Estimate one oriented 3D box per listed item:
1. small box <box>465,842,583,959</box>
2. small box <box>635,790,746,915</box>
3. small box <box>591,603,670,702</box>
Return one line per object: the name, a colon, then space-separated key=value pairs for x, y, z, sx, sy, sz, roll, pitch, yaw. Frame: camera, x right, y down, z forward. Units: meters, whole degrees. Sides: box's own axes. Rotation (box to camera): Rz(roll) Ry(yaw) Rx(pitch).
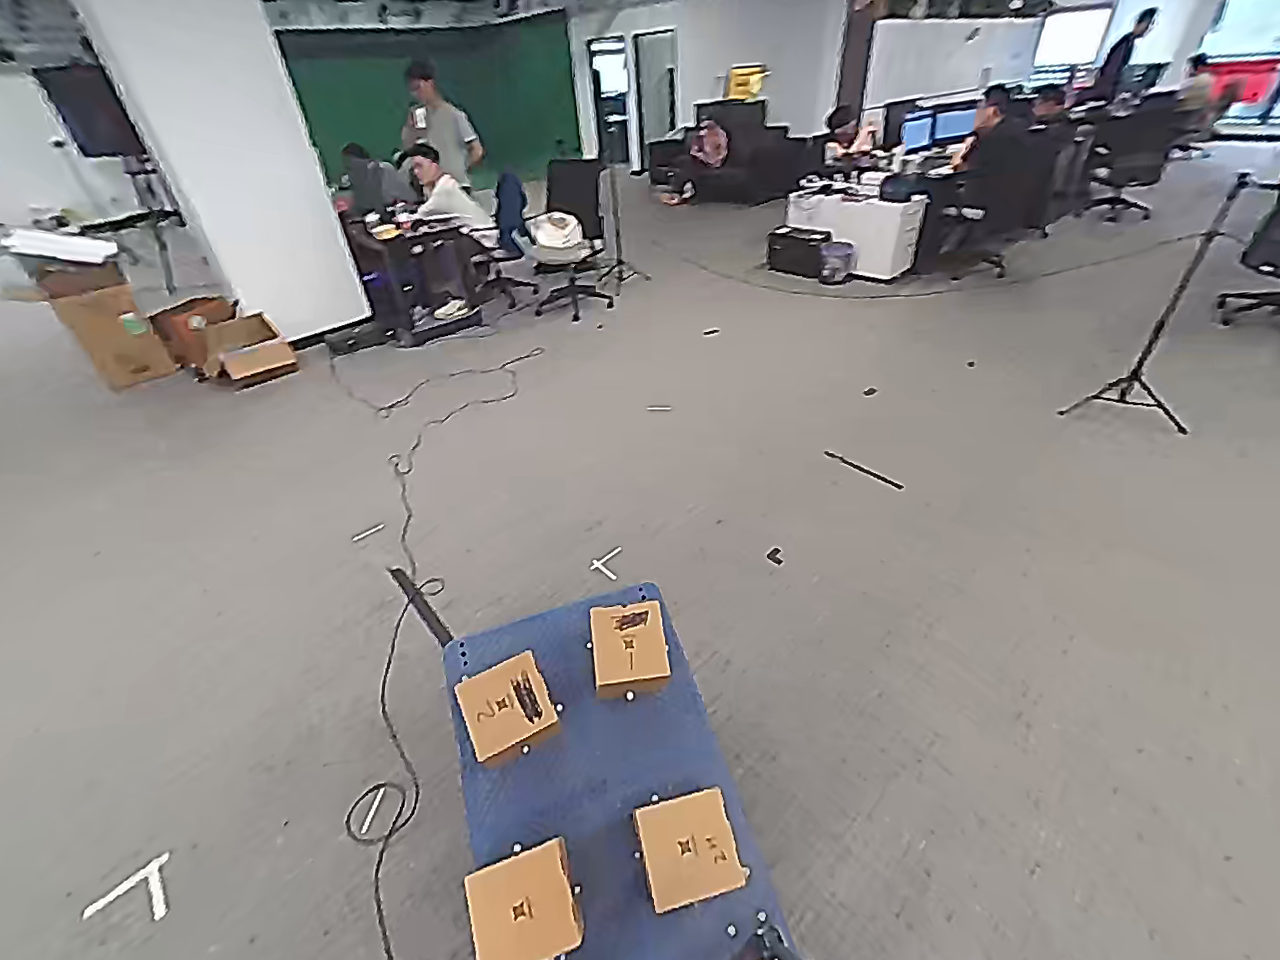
small box: x=-0.212 y=0.810 z=1.019 sx=0.179 sy=0.176 sz=0.168 roll=-15 pitch=59 yaw=-15
small box: x=0.091 y=0.739 z=1.084 sx=0.179 sy=0.176 sz=0.168 roll=-10 pitch=59 yaw=-10
small box: x=-0.029 y=0.412 z=1.288 sx=0.168 sy=0.176 sz=0.179 roll=-5 pitch=58 yaw=-7
